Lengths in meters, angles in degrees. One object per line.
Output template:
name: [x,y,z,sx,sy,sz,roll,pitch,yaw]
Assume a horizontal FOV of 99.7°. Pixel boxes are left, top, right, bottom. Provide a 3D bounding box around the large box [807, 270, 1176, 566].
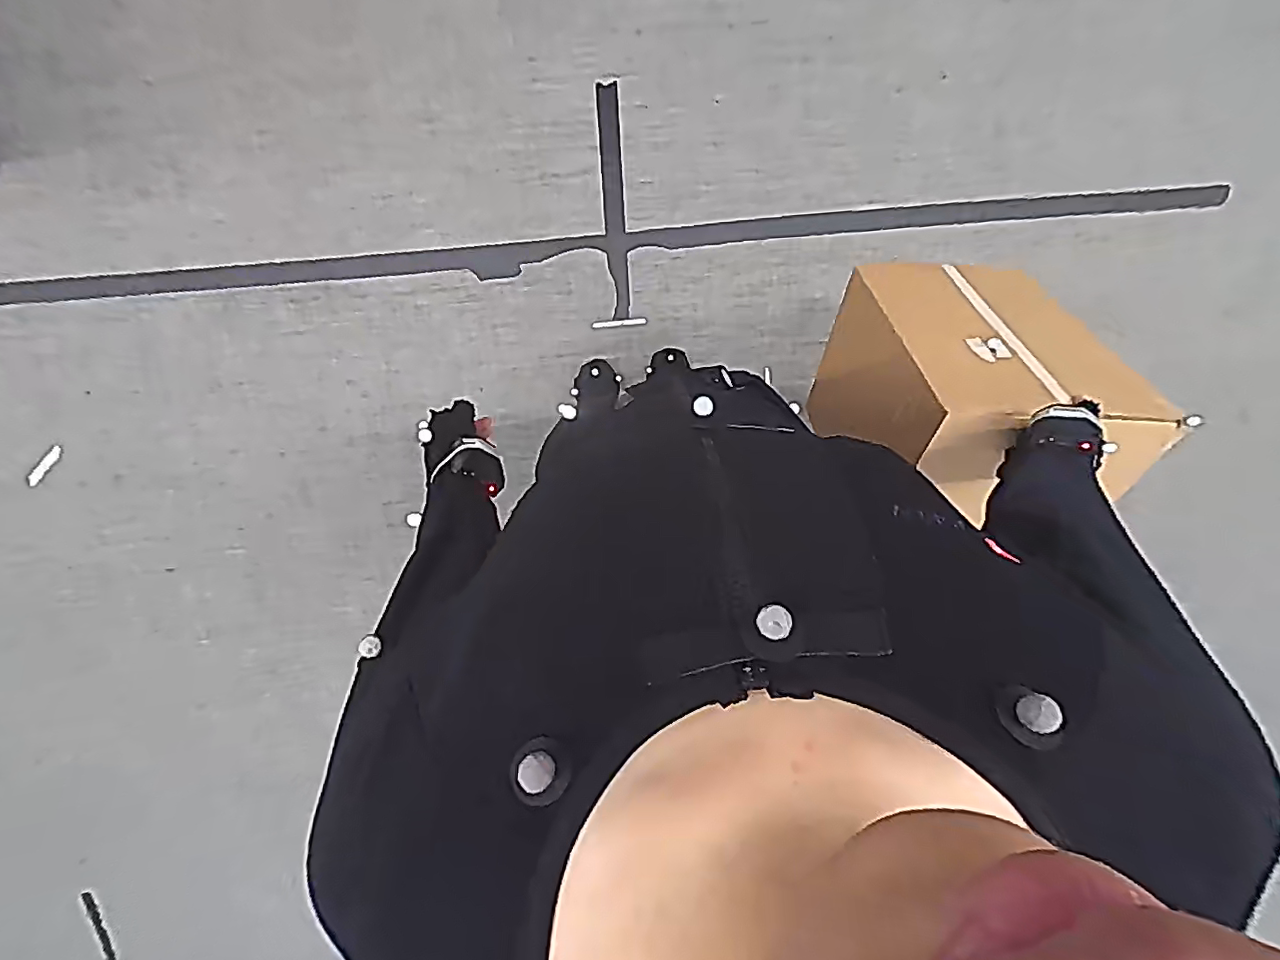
large box: [0.518,-0.108,0.918,0.320,0.408,0.320,2,138,-3]
